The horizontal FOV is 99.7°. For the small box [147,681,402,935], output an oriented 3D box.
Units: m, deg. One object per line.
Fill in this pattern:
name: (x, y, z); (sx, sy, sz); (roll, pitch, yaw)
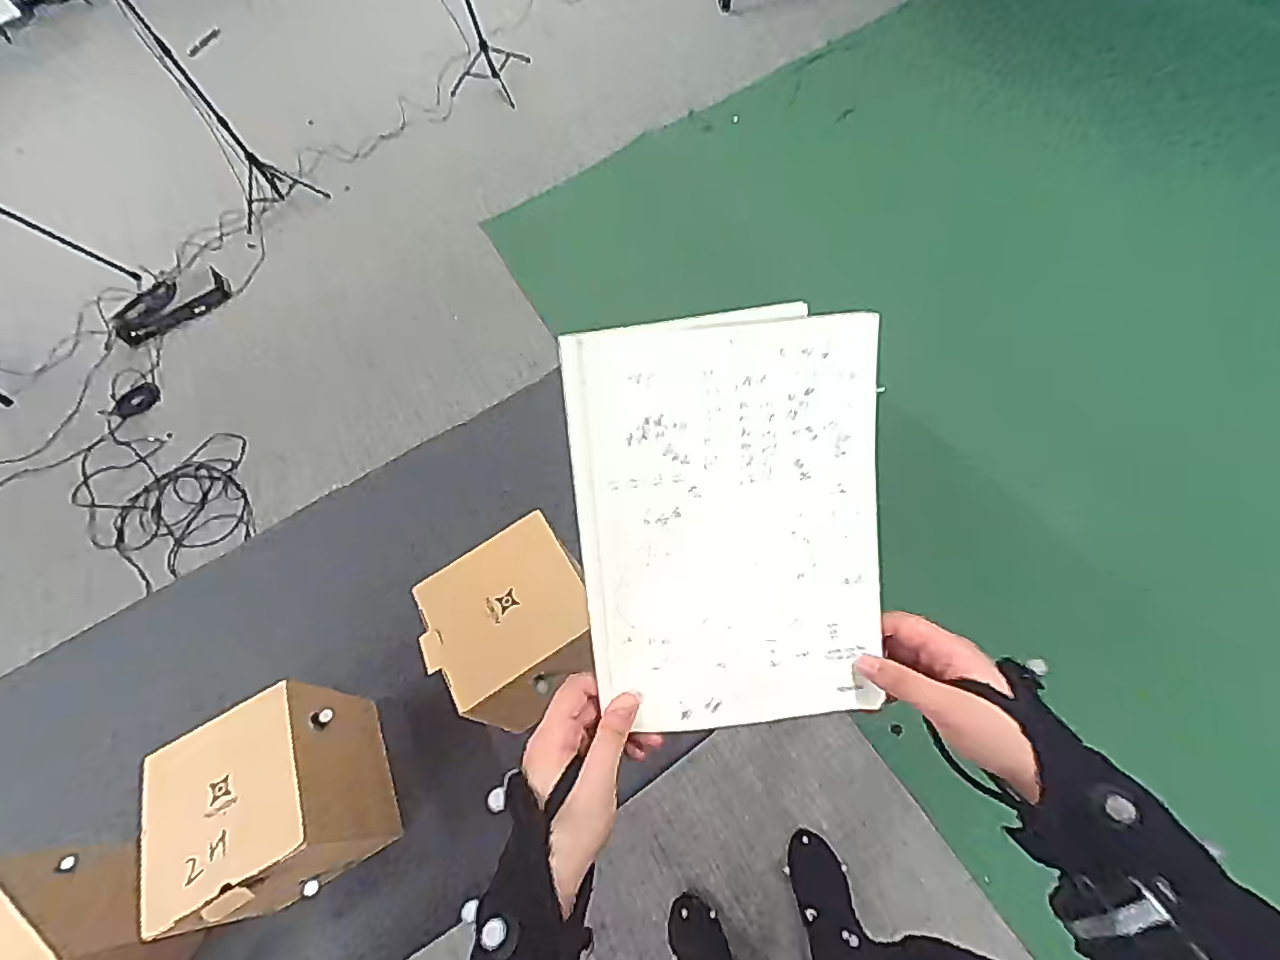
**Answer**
small box: (-0.405, 0.363, 0.618); (0.168, 0.176, 0.179); (-30, 59, -5)

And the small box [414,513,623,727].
small box: (-0.135, 0.177, 0.666); (0.179, 0.176, 0.168); (-34, 59, -7)
